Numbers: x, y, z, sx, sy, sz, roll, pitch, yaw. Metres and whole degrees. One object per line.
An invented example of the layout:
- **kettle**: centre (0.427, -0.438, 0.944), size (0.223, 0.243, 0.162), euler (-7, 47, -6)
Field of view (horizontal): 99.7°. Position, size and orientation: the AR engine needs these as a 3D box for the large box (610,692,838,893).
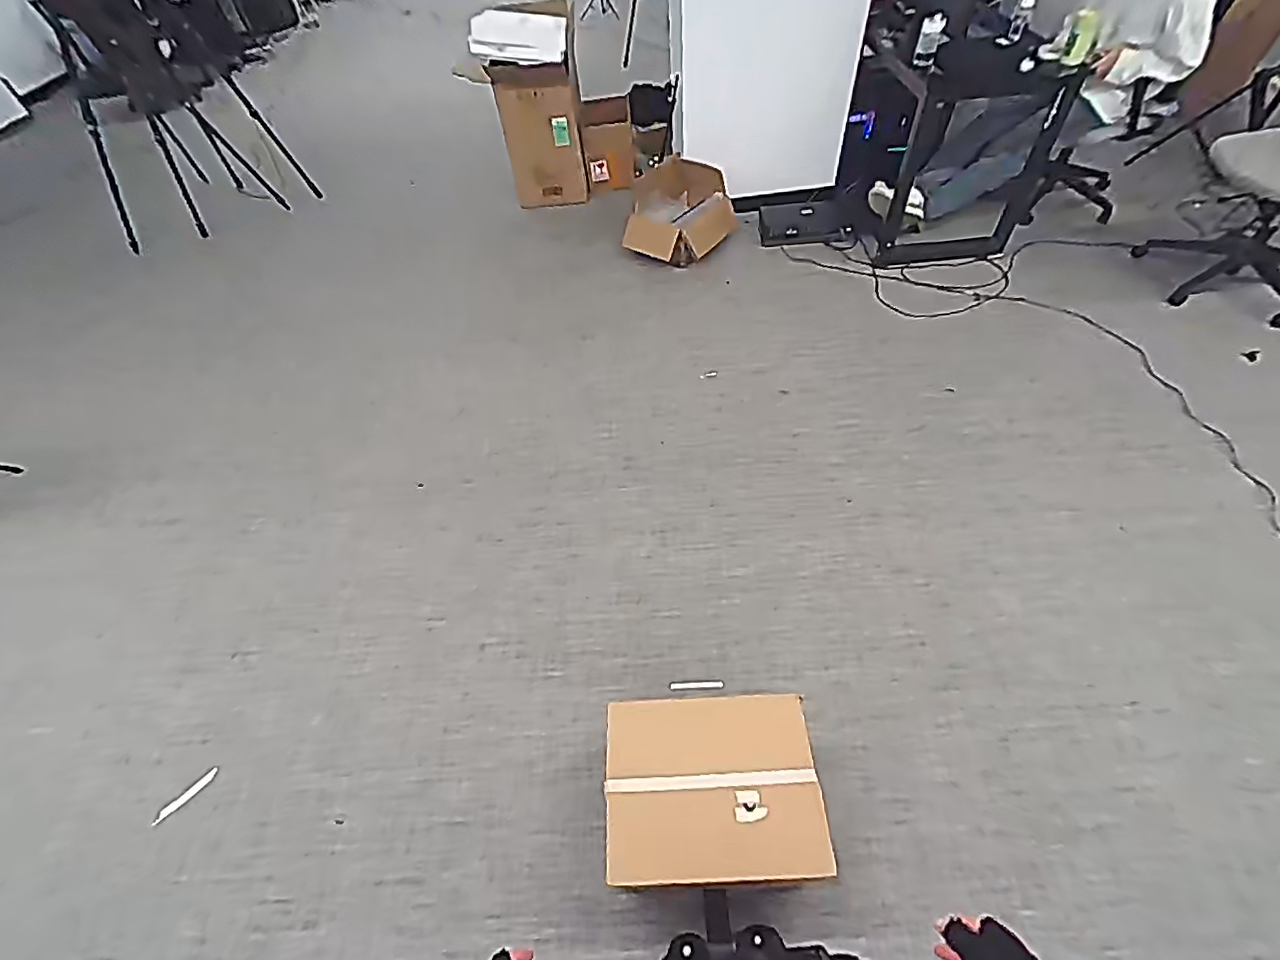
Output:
- **large box**: centre (0.150, 0.670, 1.152), size (0.408, 0.320, 0.320), euler (-4, 52, 1)
